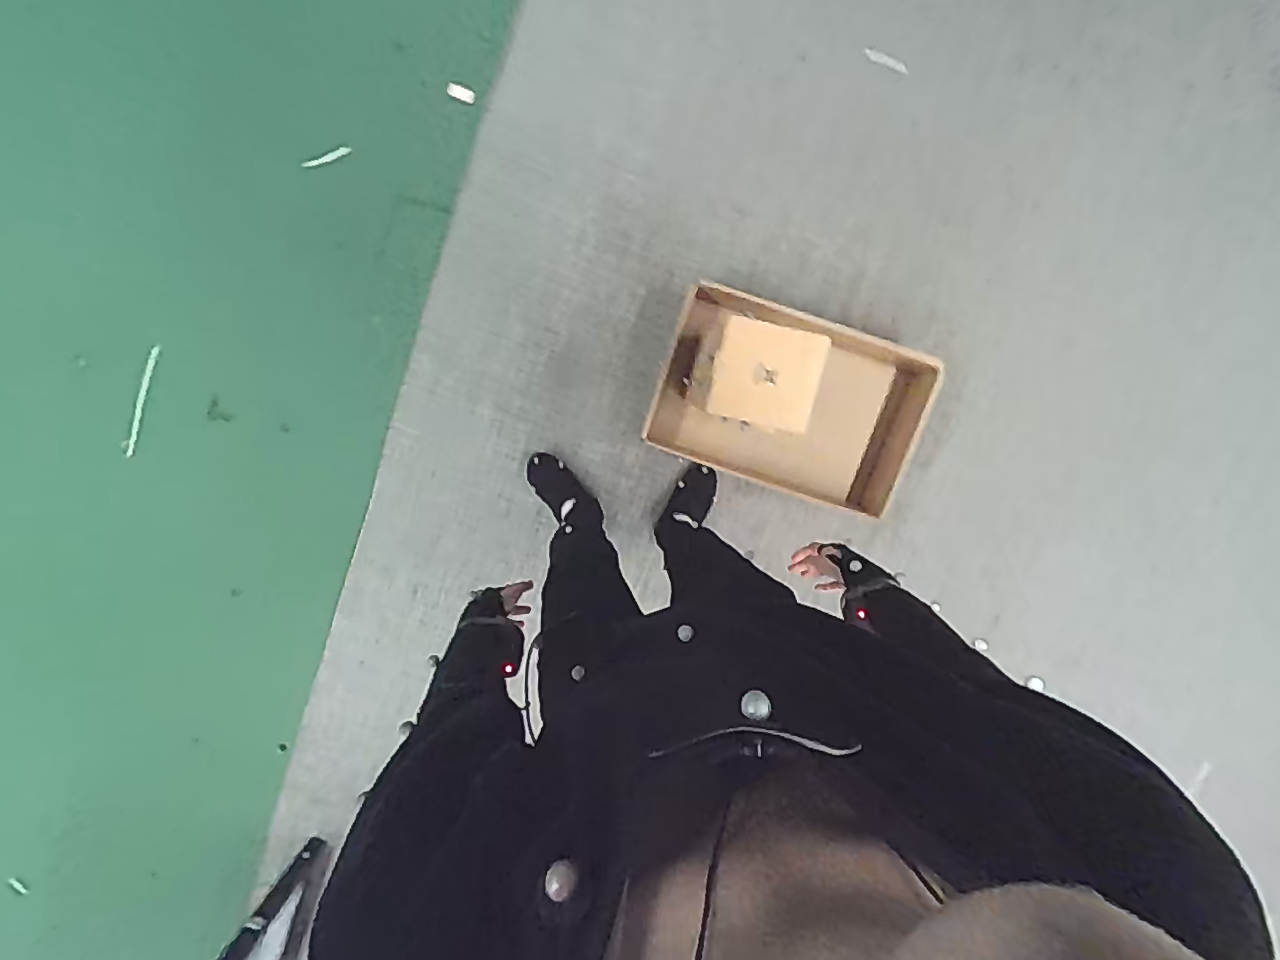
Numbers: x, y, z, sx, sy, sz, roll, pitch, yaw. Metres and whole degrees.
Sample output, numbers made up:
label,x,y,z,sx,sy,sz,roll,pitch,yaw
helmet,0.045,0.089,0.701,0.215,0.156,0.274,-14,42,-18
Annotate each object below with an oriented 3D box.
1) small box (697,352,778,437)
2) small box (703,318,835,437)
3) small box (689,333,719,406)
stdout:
label,x,y,z,sx,sy,sz,roll,pitch,yaw
small box,0.226,-0.205,1.136,0.168,0.176,0.179,20,99,-2
small box,0.220,-0.183,0.975,0.179,0.176,0.168,13,100,0
small box,0.224,-0.241,1.296,0.179,0.176,0.168,16,99,-2
